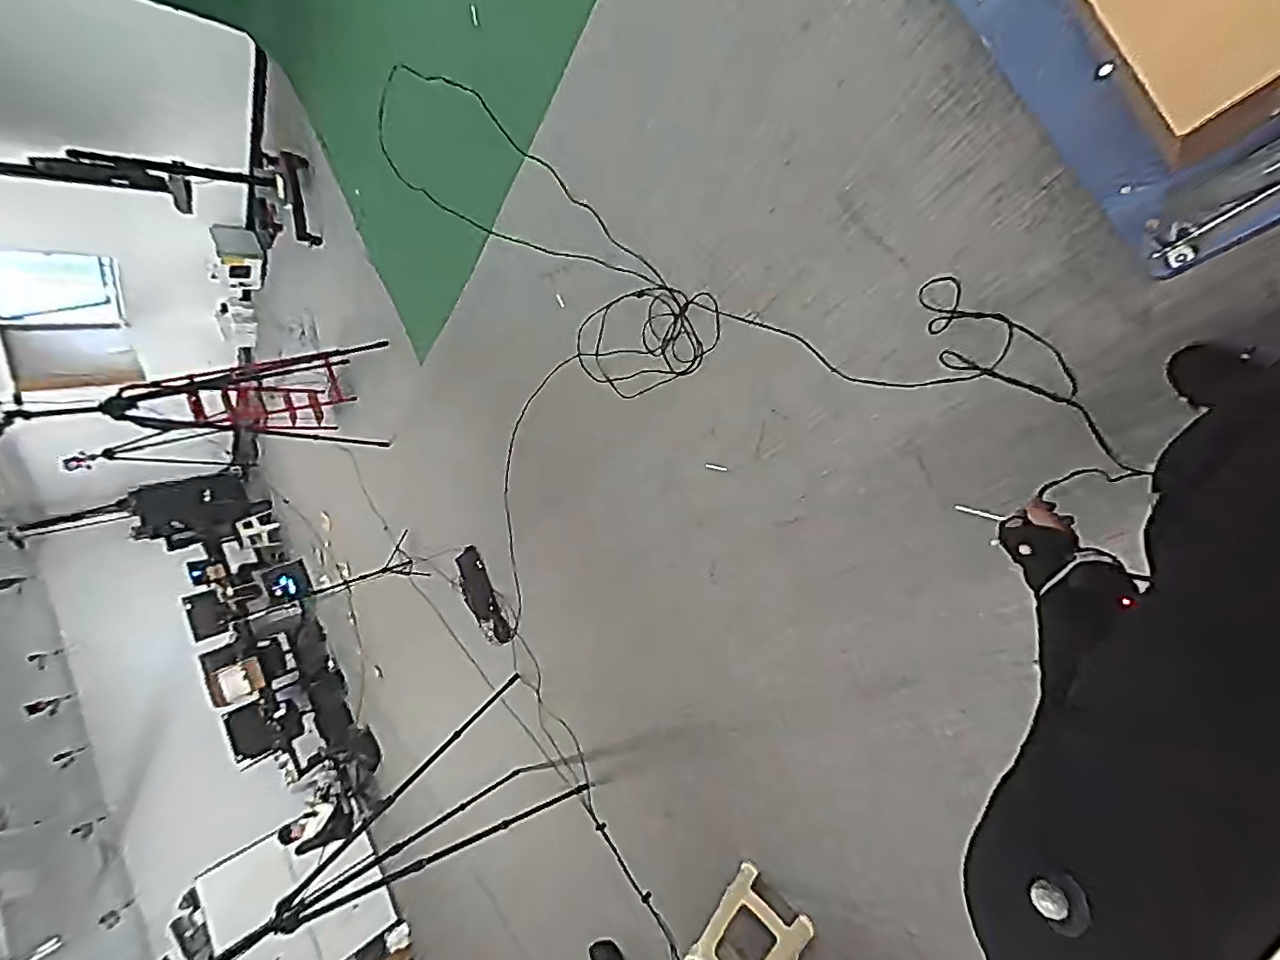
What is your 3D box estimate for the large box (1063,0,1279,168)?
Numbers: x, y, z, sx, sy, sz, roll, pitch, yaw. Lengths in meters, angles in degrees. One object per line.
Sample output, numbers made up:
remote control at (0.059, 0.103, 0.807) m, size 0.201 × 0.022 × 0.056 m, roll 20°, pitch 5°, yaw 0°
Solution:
large box at (0.871, -0.756, 0.788) m, size 0.320 × 0.320 × 0.408 m, roll -32°, pitch 79°, yaw 44°
